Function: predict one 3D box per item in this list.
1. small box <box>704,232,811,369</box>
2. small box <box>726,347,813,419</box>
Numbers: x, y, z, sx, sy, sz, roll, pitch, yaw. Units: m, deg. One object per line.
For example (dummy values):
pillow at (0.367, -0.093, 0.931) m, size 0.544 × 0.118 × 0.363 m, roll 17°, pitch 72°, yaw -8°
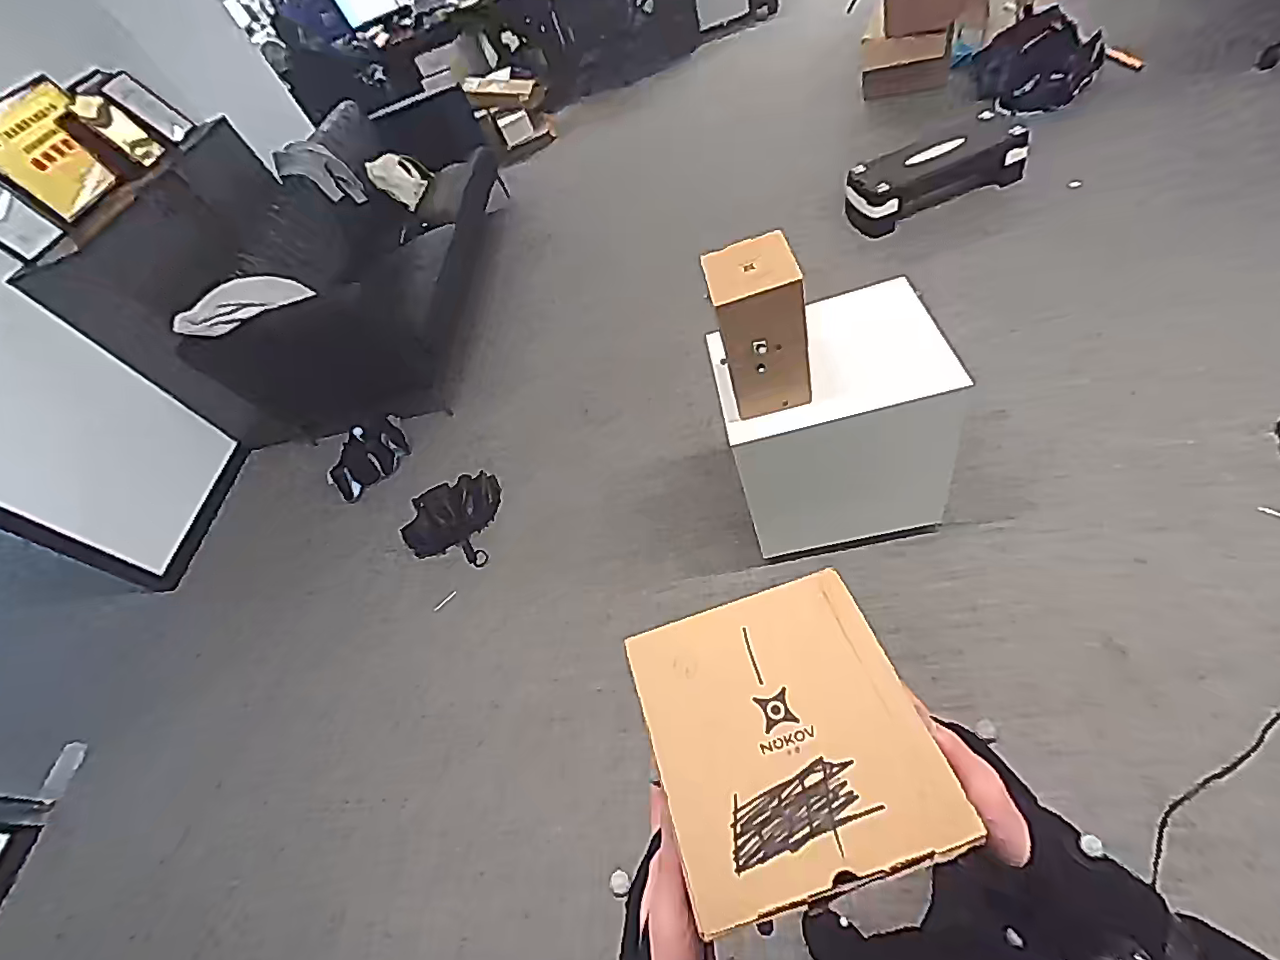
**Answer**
small box at (0.236, -0.355, 1.084) m, size 0.168 × 0.176 × 0.179 m, roll -15°, pitch 52°, yaw 12°
small box at (0.283, -0.266, 1.212) m, size 0.168 × 0.176 × 0.179 m, roll -13°, pitch 51°, yaw 12°
